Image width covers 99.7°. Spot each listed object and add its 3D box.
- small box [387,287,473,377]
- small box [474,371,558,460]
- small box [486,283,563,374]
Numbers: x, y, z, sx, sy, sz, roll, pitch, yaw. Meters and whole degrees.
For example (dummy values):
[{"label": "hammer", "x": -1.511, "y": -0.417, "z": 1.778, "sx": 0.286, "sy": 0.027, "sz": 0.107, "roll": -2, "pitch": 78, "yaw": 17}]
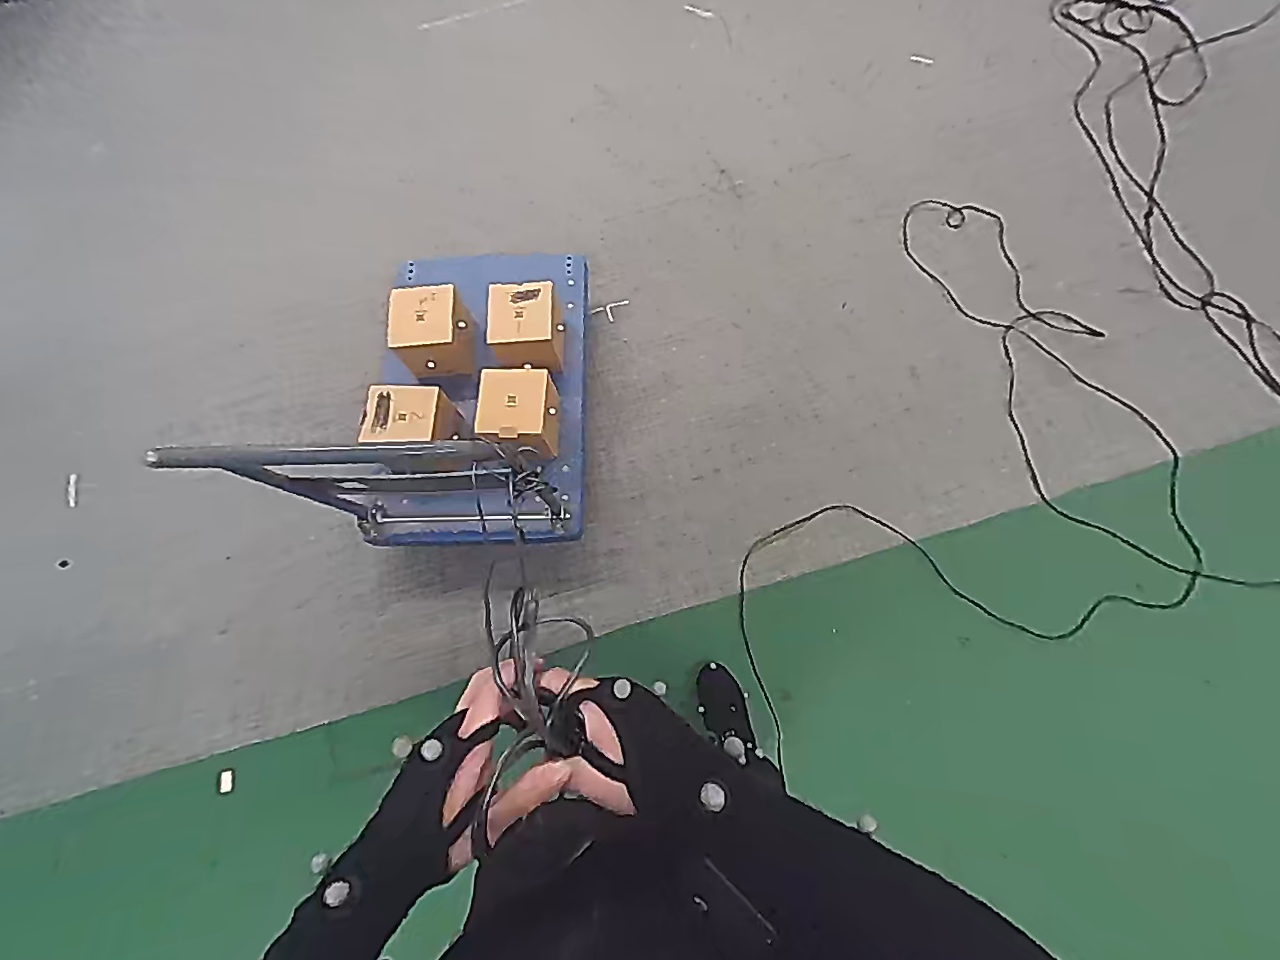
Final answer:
[{"label": "small box", "x": -0.560, "y": -0.391, "z": 1.461, "sx": 0.168, "sy": 0.176, "sz": 0.179, "roll": -5, "pitch": 73, "yaw": 1}, {"label": "small box", "x": -0.308, "y": -0.162, "z": 1.379, "sx": 0.168, "sy": 0.176, "sz": 0.179, "roll": 0, "pitch": 74, "yaw": 3}, {"label": "small box", "x": -0.304, "y": -0.399, "z": 1.449, "sx": 0.168, "sy": 0.176, "sz": 0.179, "roll": -4, "pitch": 74, "yaw": 3}]
